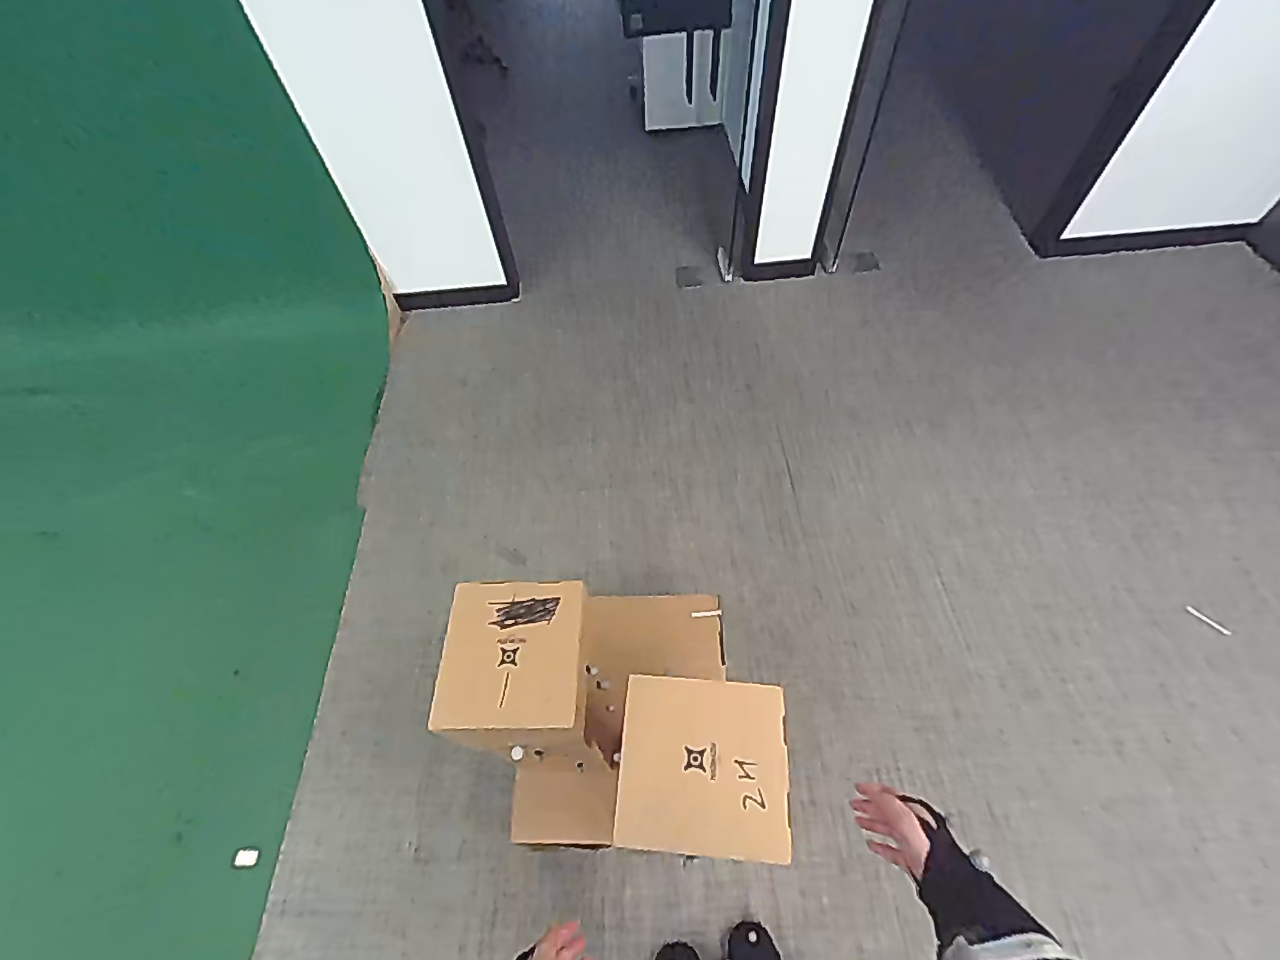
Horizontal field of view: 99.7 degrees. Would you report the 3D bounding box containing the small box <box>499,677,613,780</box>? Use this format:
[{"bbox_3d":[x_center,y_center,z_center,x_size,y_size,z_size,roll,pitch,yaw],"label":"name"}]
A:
[{"bbox_3d":[-0.140,0.436,0.978,0.168,0.176,0.179,-1,54,3],"label":"small box"}]

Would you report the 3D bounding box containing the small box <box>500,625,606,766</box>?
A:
[{"bbox_3d":[-0.144,0.339,0.847,0.168,0.176,0.179,-1,56,2],"label":"small box"}]

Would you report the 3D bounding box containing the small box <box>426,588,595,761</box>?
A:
[{"bbox_3d":[-0.152,0.256,0.706,0.168,0.176,0.179,-1,56,3],"label":"small box"}]

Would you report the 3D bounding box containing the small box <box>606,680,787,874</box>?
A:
[{"bbox_3d":[0.065,0.343,0.623,0.179,0.176,0.168,3,56,5],"label":"small box"}]
